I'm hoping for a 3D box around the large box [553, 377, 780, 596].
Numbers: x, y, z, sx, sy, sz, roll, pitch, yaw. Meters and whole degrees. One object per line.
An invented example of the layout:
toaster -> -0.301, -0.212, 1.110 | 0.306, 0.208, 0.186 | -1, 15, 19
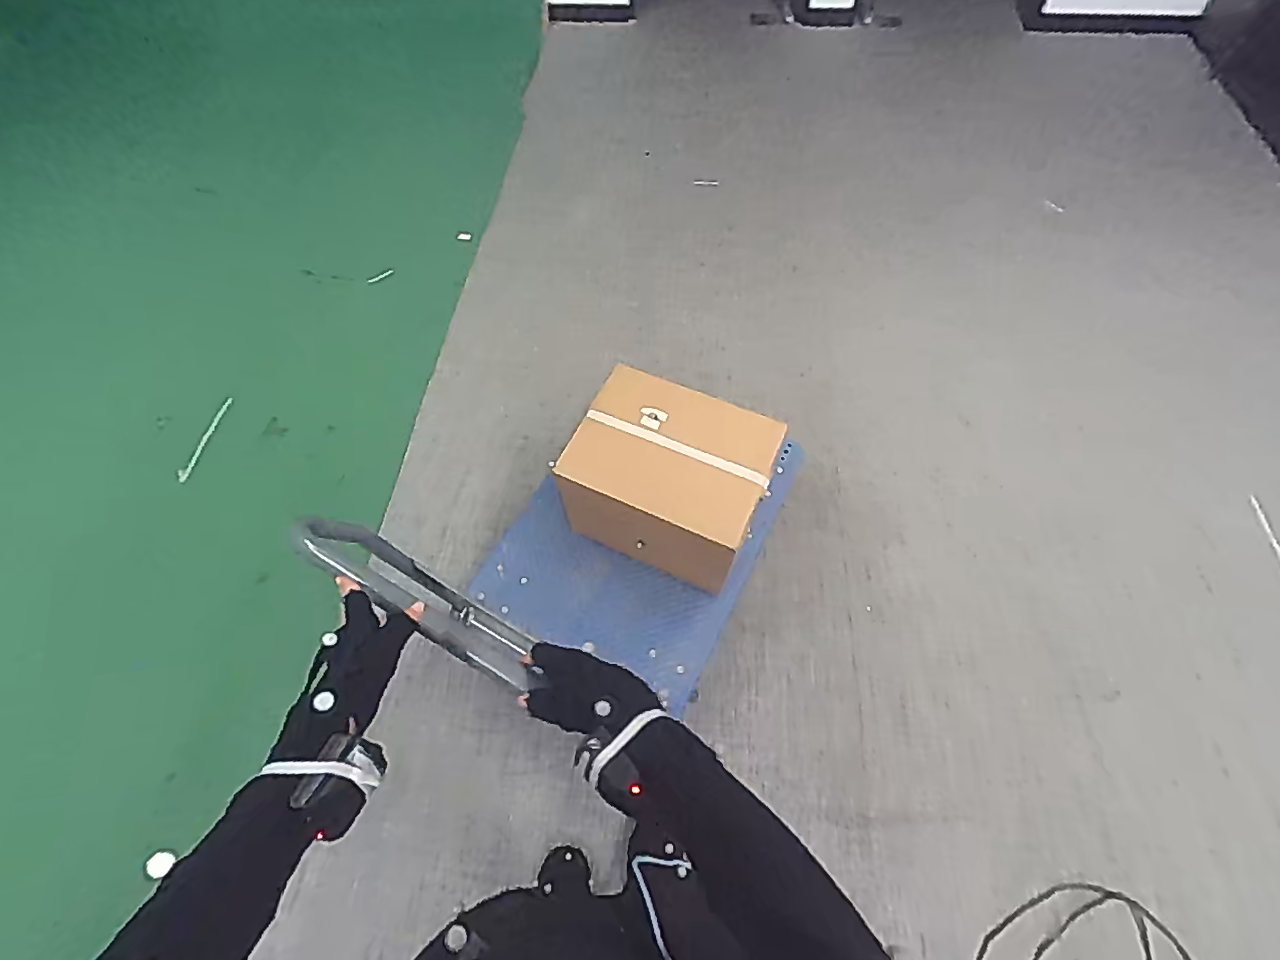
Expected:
large box -> 0.068, 0.023, 1.266 | 0.408, 0.320, 0.320 | 22, 64, 14
